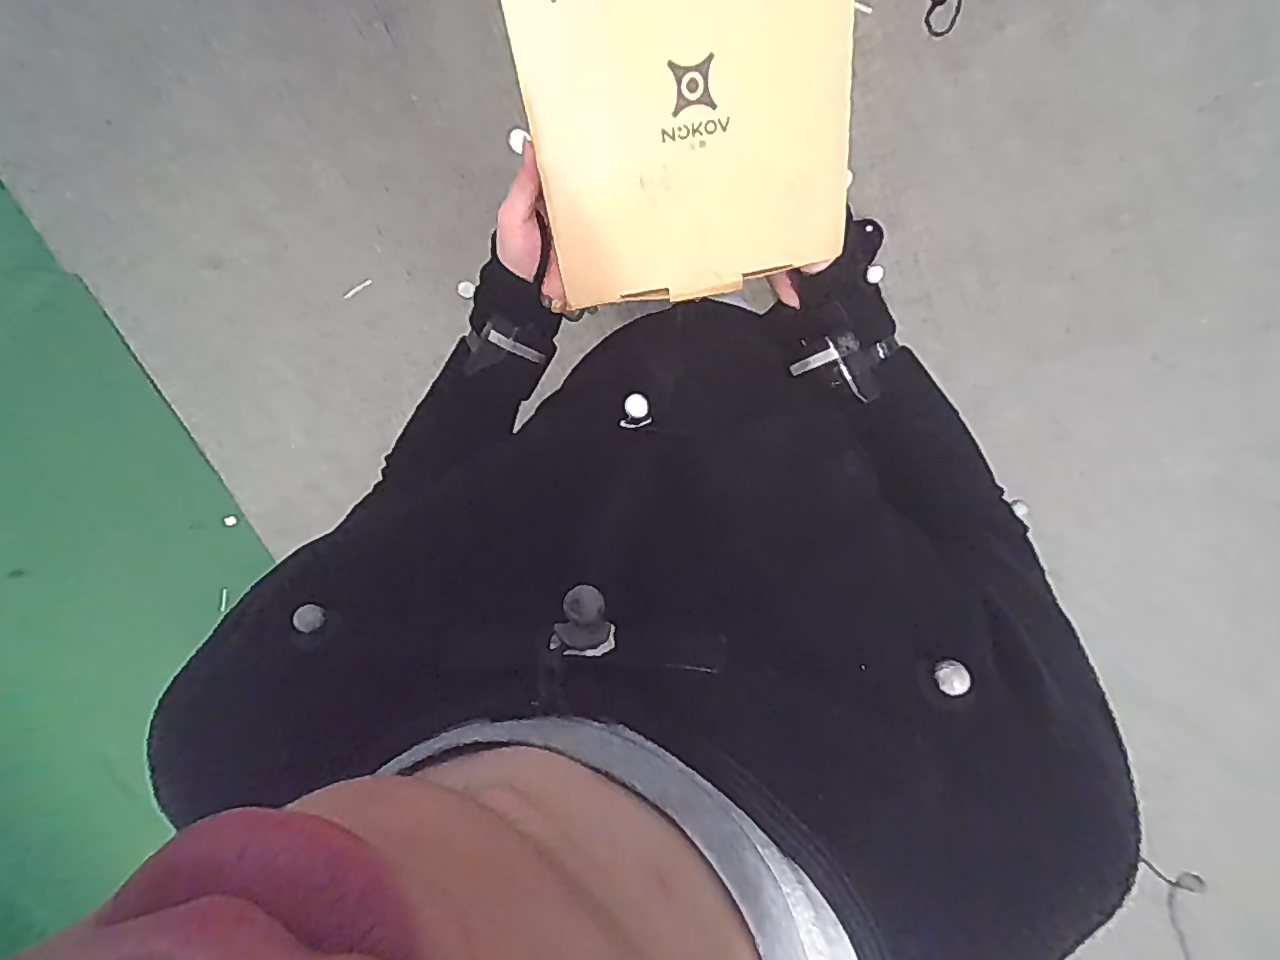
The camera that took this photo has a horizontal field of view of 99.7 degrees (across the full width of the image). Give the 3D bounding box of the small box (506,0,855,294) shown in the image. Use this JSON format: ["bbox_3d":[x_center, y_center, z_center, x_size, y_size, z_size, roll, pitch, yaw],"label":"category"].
[{"bbox_3d":[0.014,-0.237,0.336,0.168,0.176,0.179,-11,125,-3],"label":"small box"}]
